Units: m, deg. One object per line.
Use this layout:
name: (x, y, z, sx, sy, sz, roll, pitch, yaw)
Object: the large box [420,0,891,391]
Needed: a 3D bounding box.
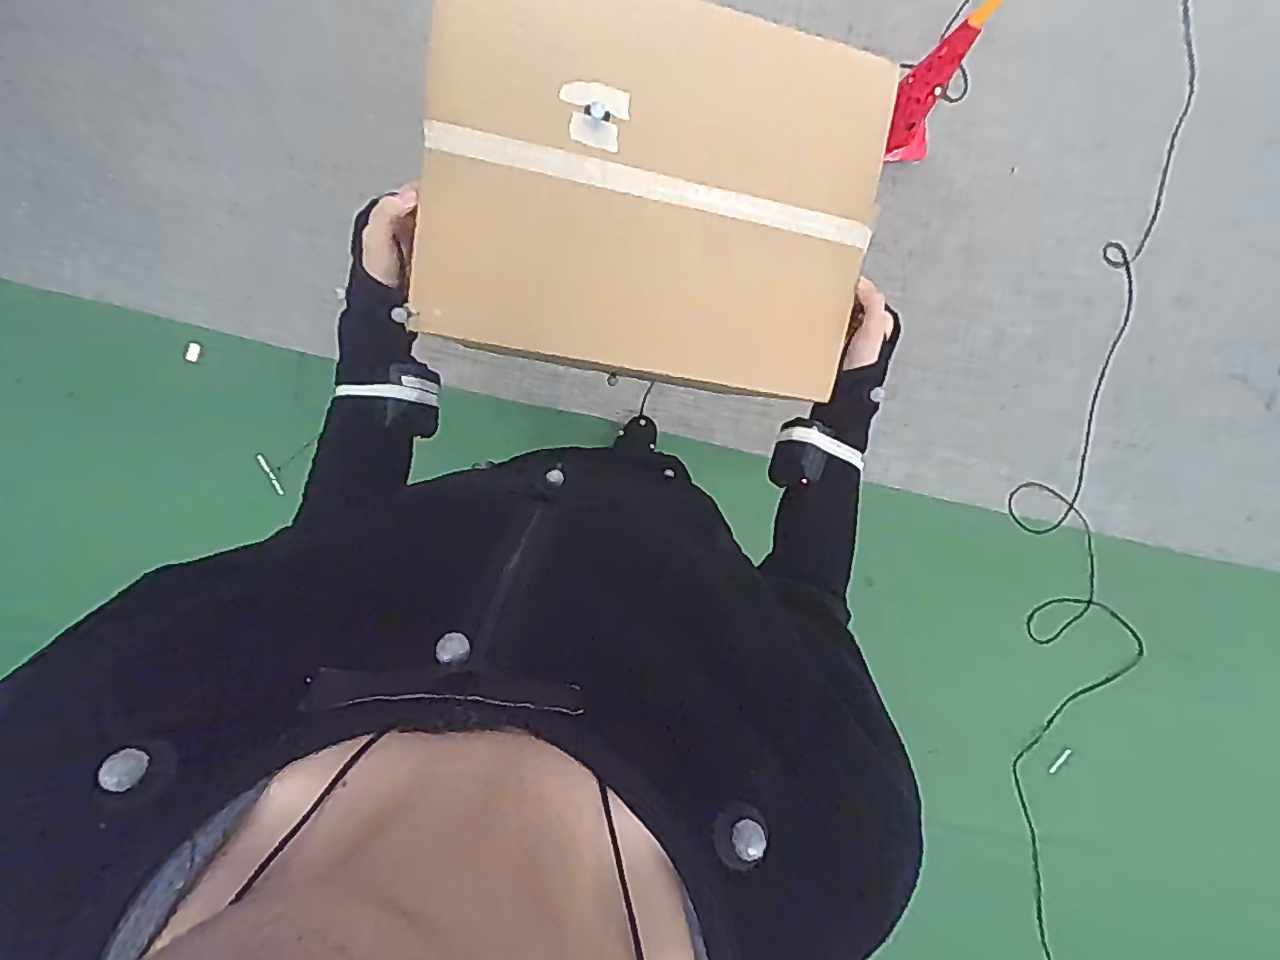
large box: (-0.002, -0.292, 0.636, 0.408, 0.320, 0.320, 8, 100, -10)
